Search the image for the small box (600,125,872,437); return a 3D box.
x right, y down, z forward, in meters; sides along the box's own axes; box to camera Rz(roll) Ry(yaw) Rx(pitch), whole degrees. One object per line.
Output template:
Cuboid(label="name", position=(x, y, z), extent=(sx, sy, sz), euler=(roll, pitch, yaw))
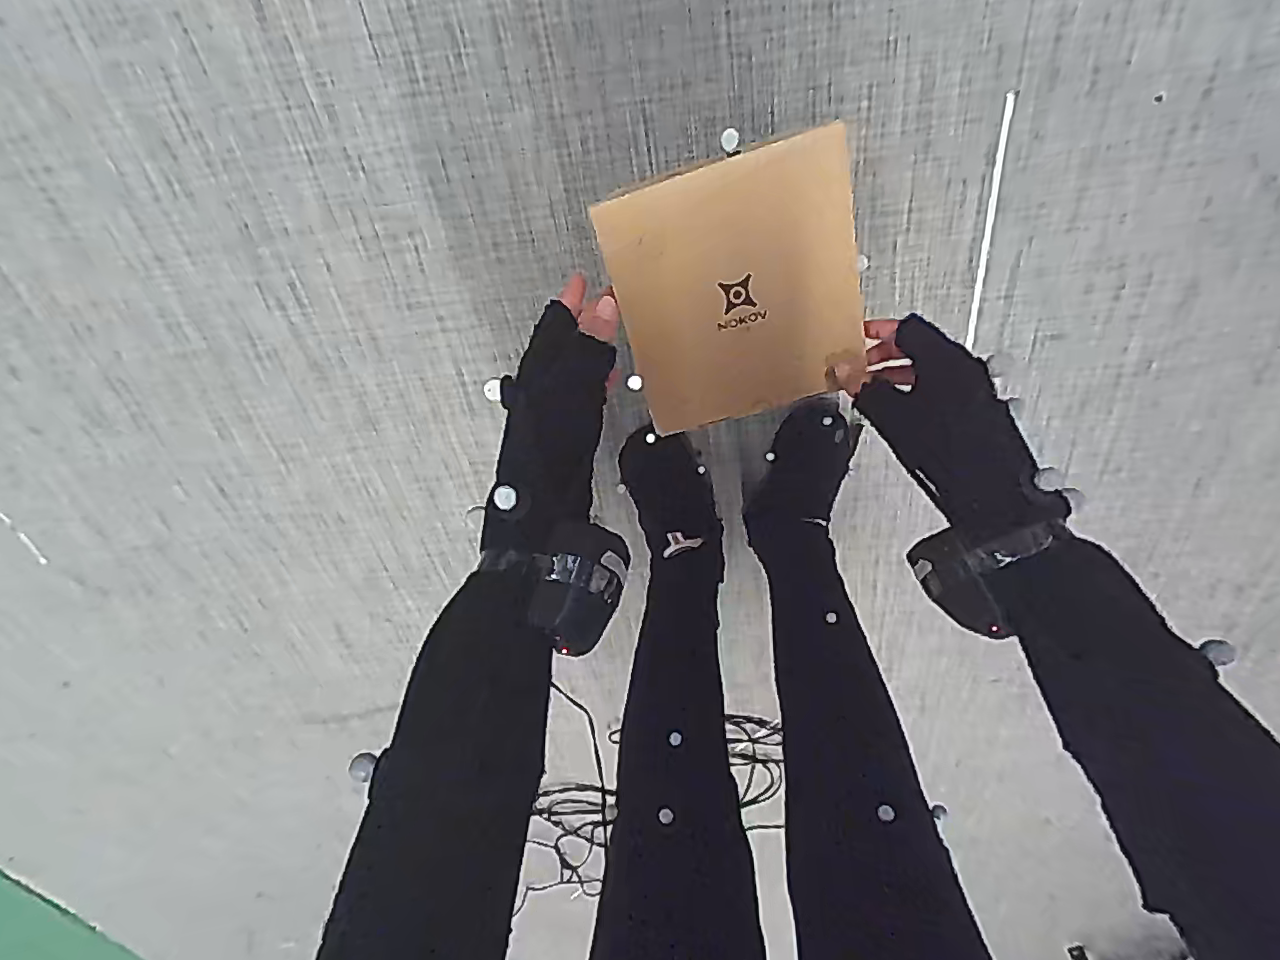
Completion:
Cuboid(label="small box", position=(0.074, -0.164, 0.446), extent=(0.168, 0.176, 0.179), euler=(-14, 120, 10))
